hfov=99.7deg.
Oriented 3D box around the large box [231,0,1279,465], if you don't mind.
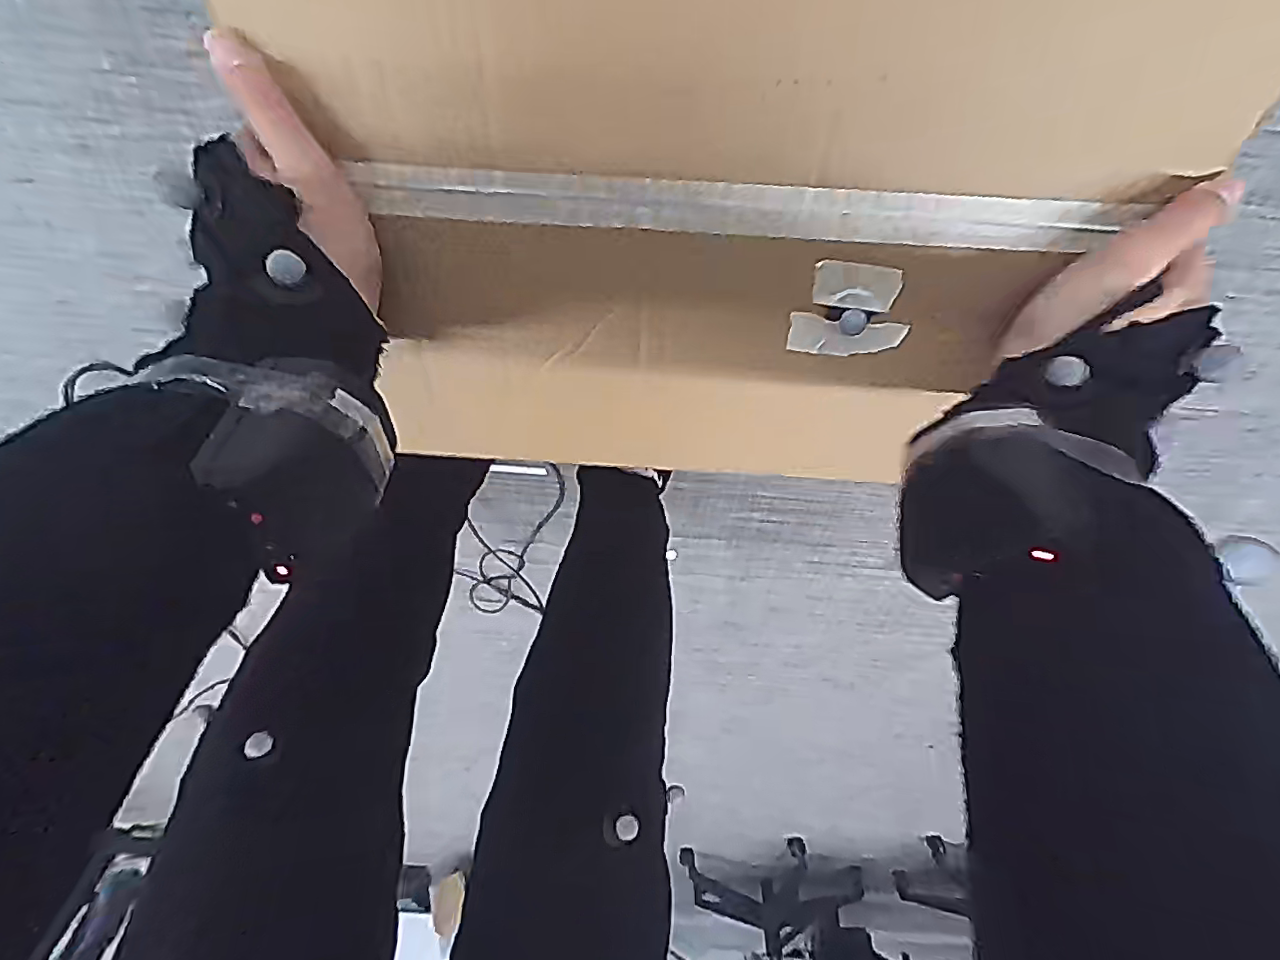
[{"bbox_3d":[0.043,-0.230,0.352,0.408,0.320,0.320,3,133,0],"label":"large box"}]
